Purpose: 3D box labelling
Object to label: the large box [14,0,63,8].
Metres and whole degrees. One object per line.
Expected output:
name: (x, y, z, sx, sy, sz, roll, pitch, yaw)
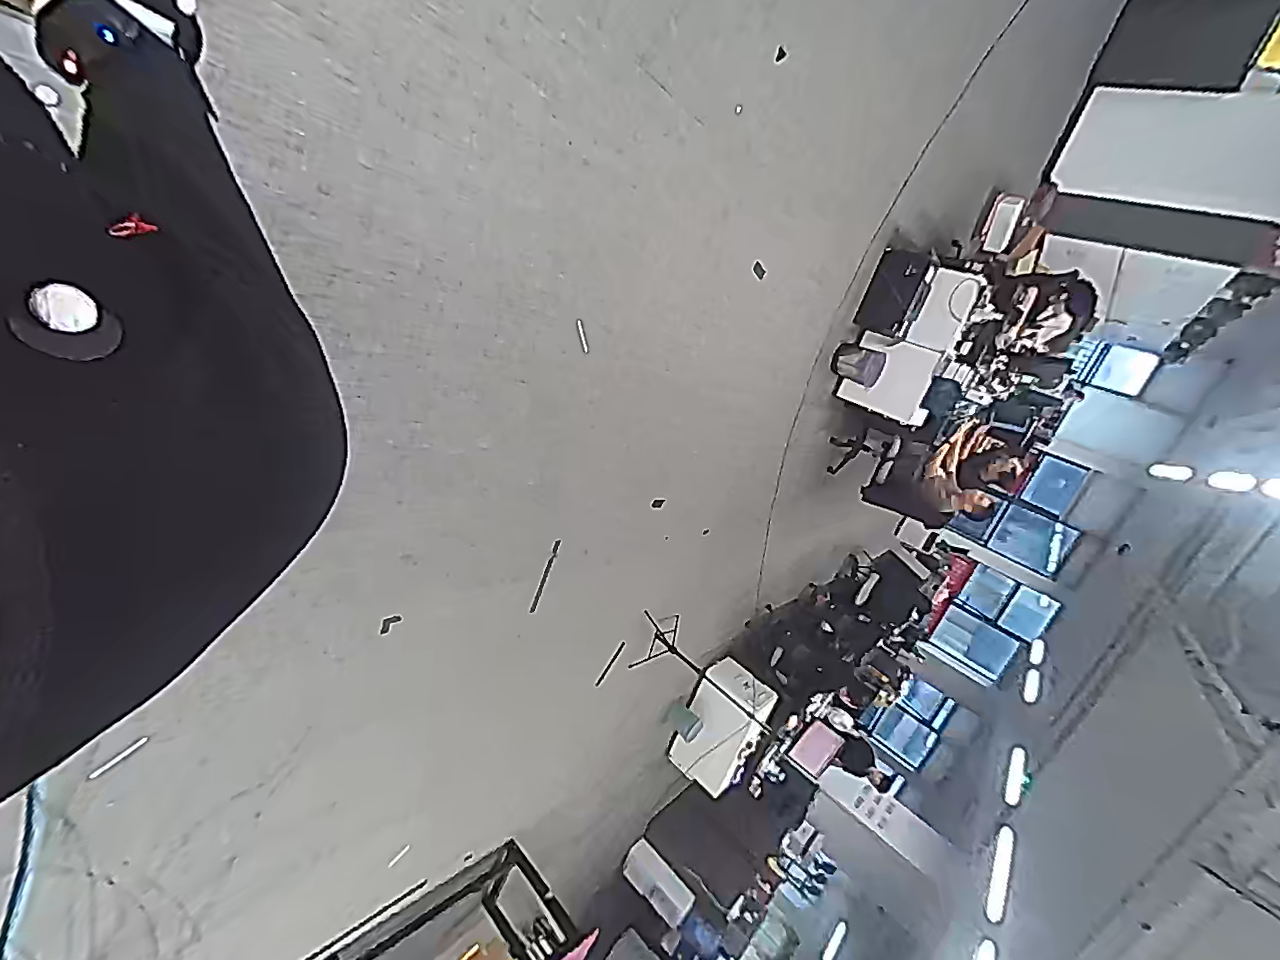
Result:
large box: (-0.929, -0.819, 0.592, 0.408, 0.320, 0.320, 1, 115, -53)
